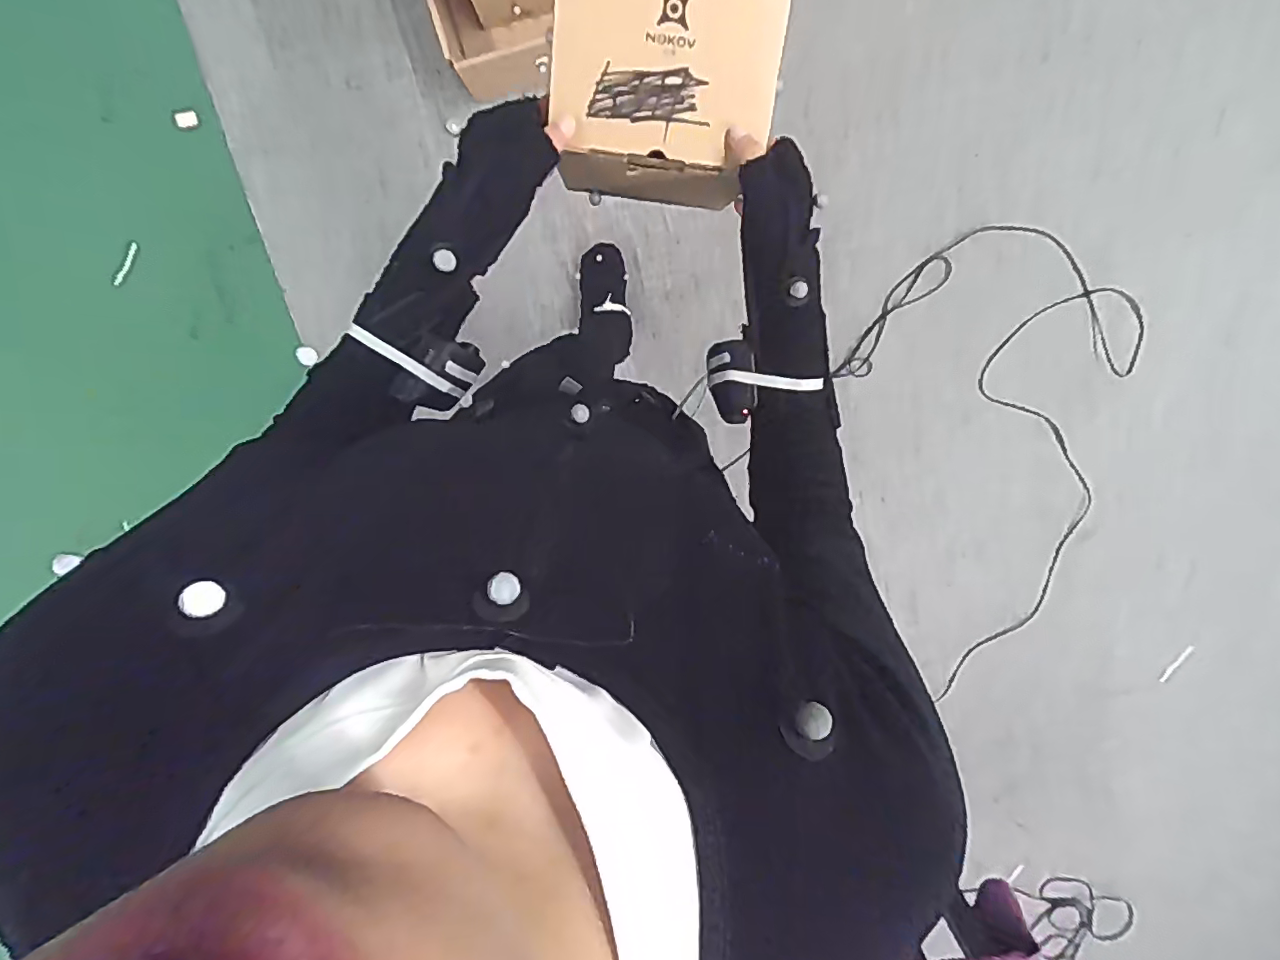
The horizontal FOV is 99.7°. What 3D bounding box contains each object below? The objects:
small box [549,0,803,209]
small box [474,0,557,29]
[{"bbox_3d":[0.023,-0.343,0.452,0.168,0.176,0.179,8,108,-7],"label":"small box"},{"bbox_3d":[-0.270,-1.049,1.063,0.168,0.176,0.179,-13,103,2],"label":"small box"}]
